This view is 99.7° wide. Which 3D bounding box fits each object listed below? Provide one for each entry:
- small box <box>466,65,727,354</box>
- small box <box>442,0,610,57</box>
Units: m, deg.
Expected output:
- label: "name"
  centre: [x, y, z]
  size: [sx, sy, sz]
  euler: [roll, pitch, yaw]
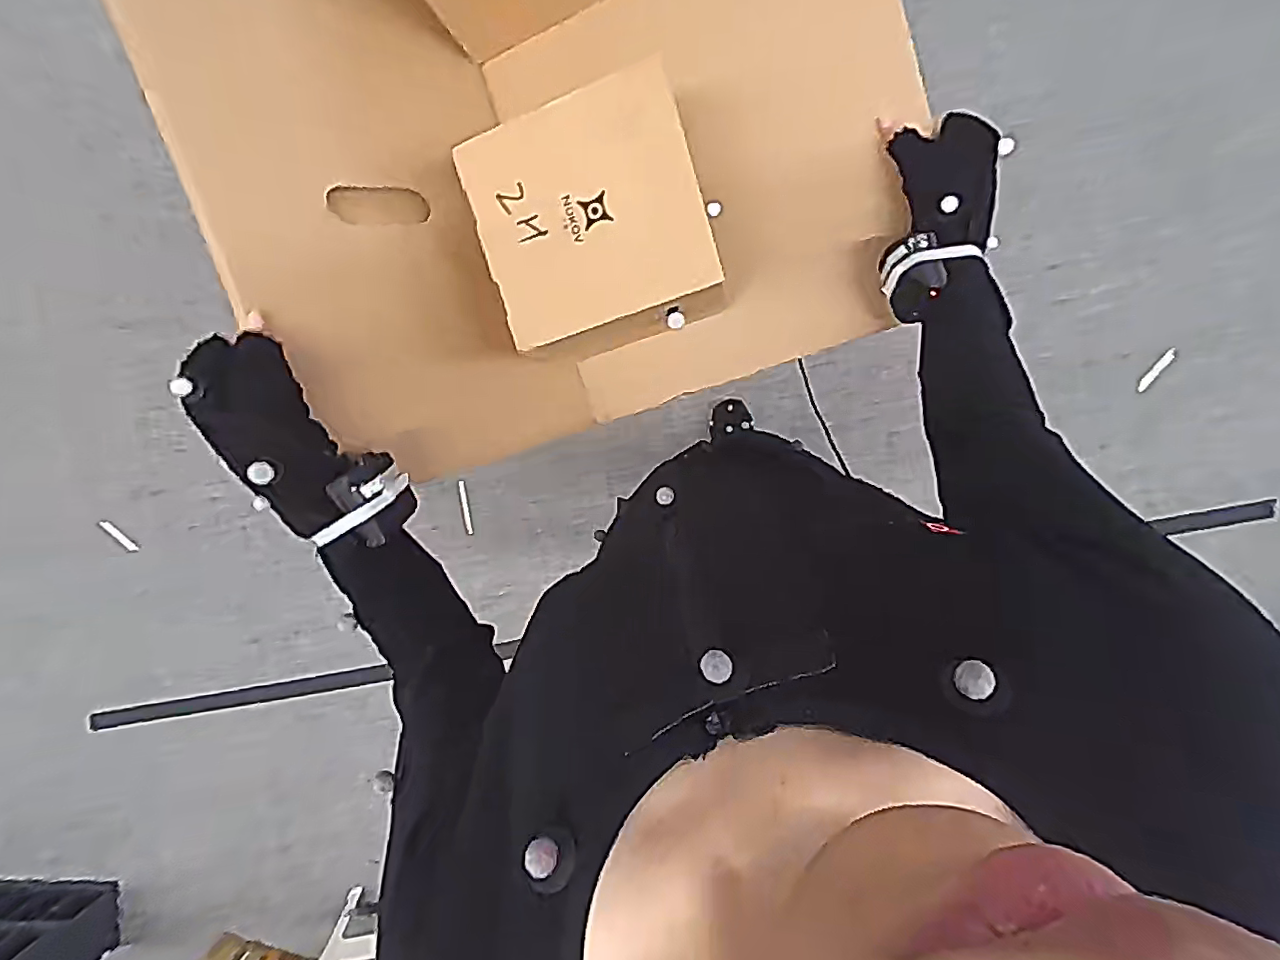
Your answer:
- label: "small box"
  centre: [-0.024, -0.223, 0.501]
  size: [0.179, 0.176, 0.168]
  euler: [-15, 96, 12]
- label: "small box"
  centre: [-0.122, -0.526, 0.469]
  size: [0.179, 0.176, 0.168]
  euler: [-18, 96, 11]
